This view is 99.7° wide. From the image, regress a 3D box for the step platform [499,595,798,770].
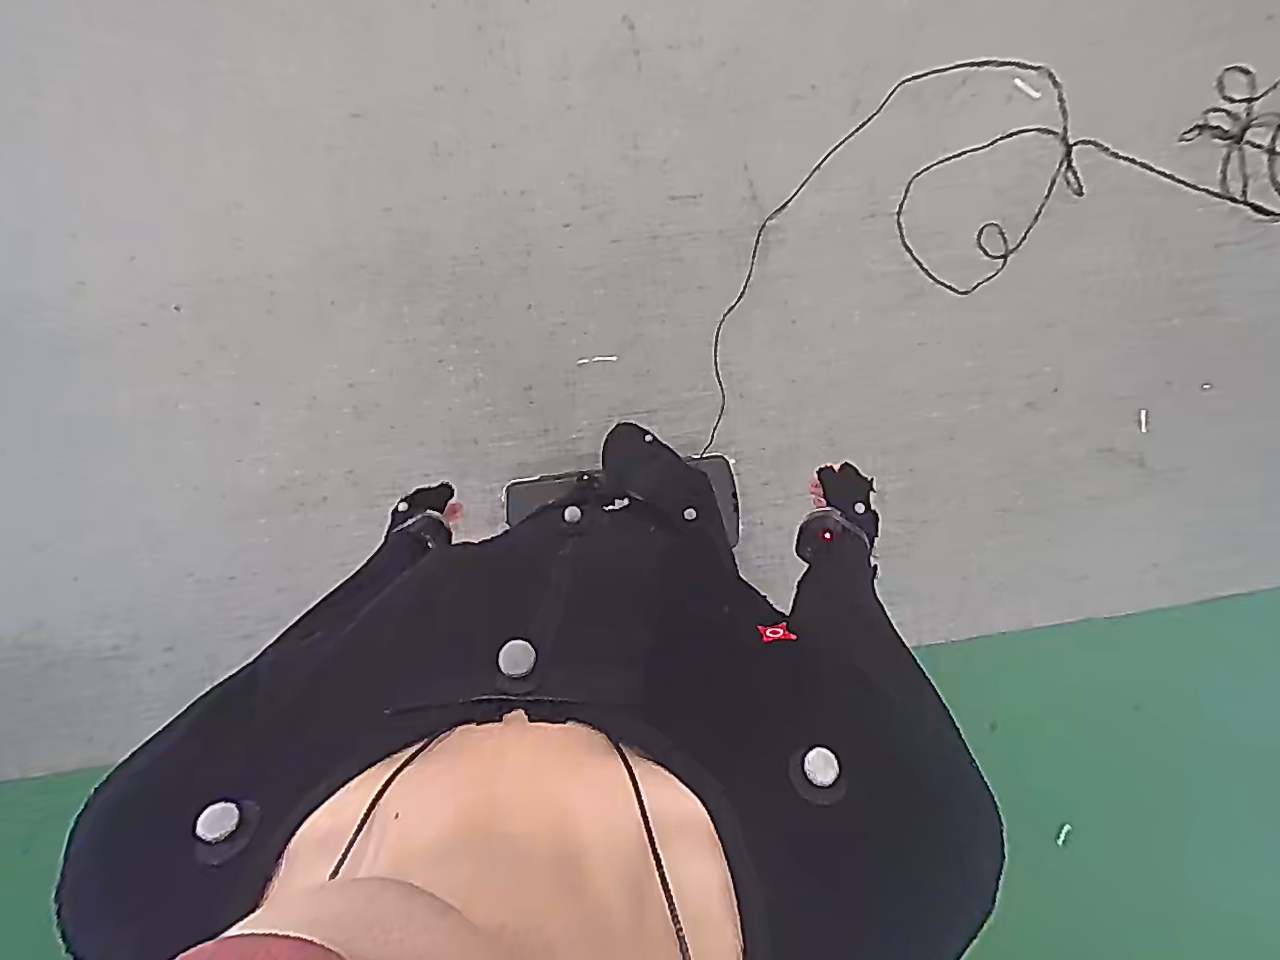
[{"bbox_3d":[0.019,0.475,1.319,0.684,0.204,0.286,-8,92,-5],"label":"step platform"}]
